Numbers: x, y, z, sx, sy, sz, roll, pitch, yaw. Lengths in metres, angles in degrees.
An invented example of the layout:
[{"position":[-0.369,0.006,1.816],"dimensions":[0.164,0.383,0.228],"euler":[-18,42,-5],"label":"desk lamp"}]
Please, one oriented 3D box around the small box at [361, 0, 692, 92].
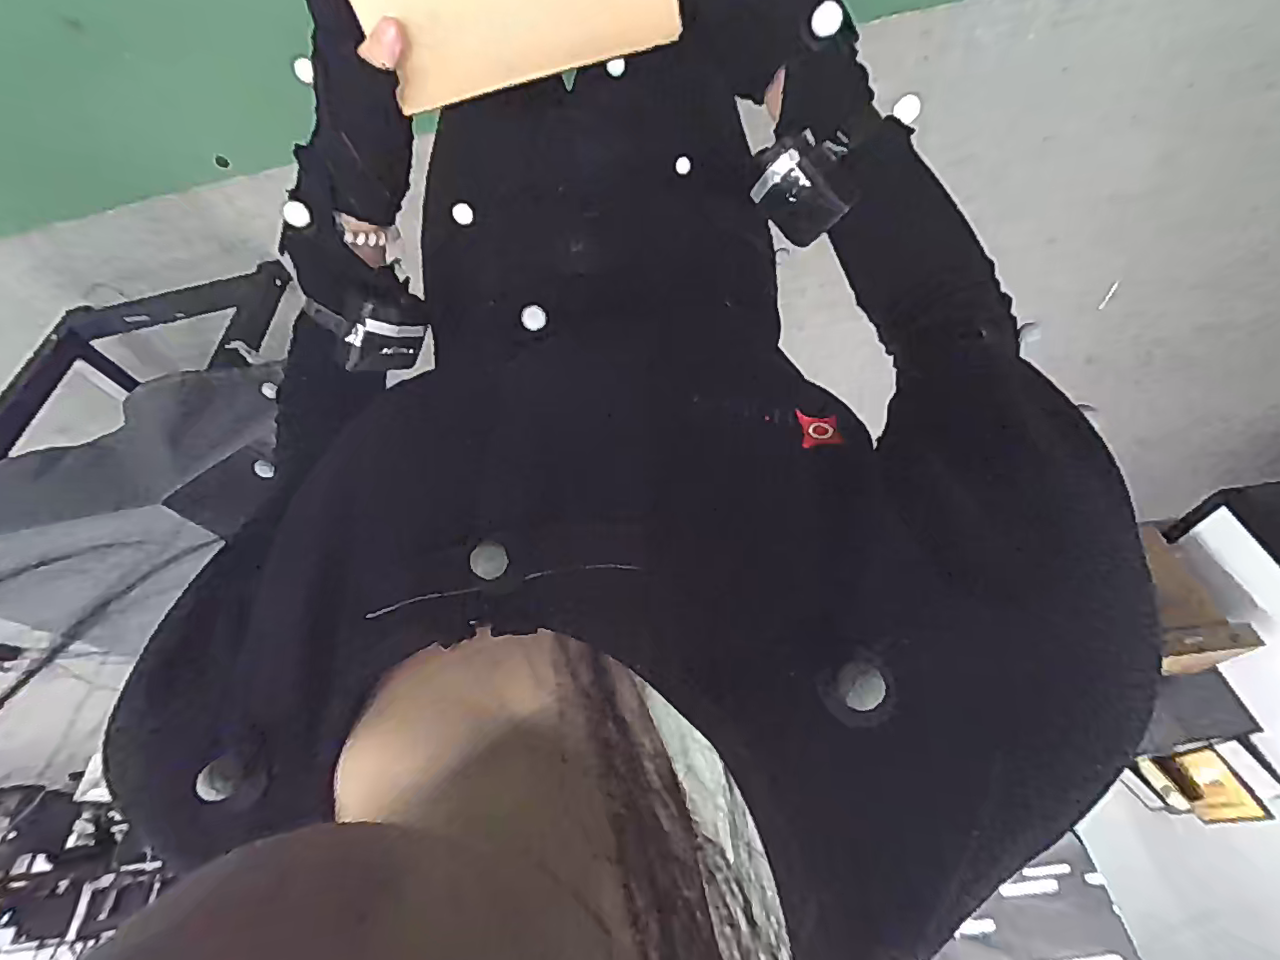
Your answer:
[{"position":[-0.081,-0.351,0.304],"dimensions":[0.179,0.176,0.168],"euler":[-15,138,1],"label":"small box"}]
